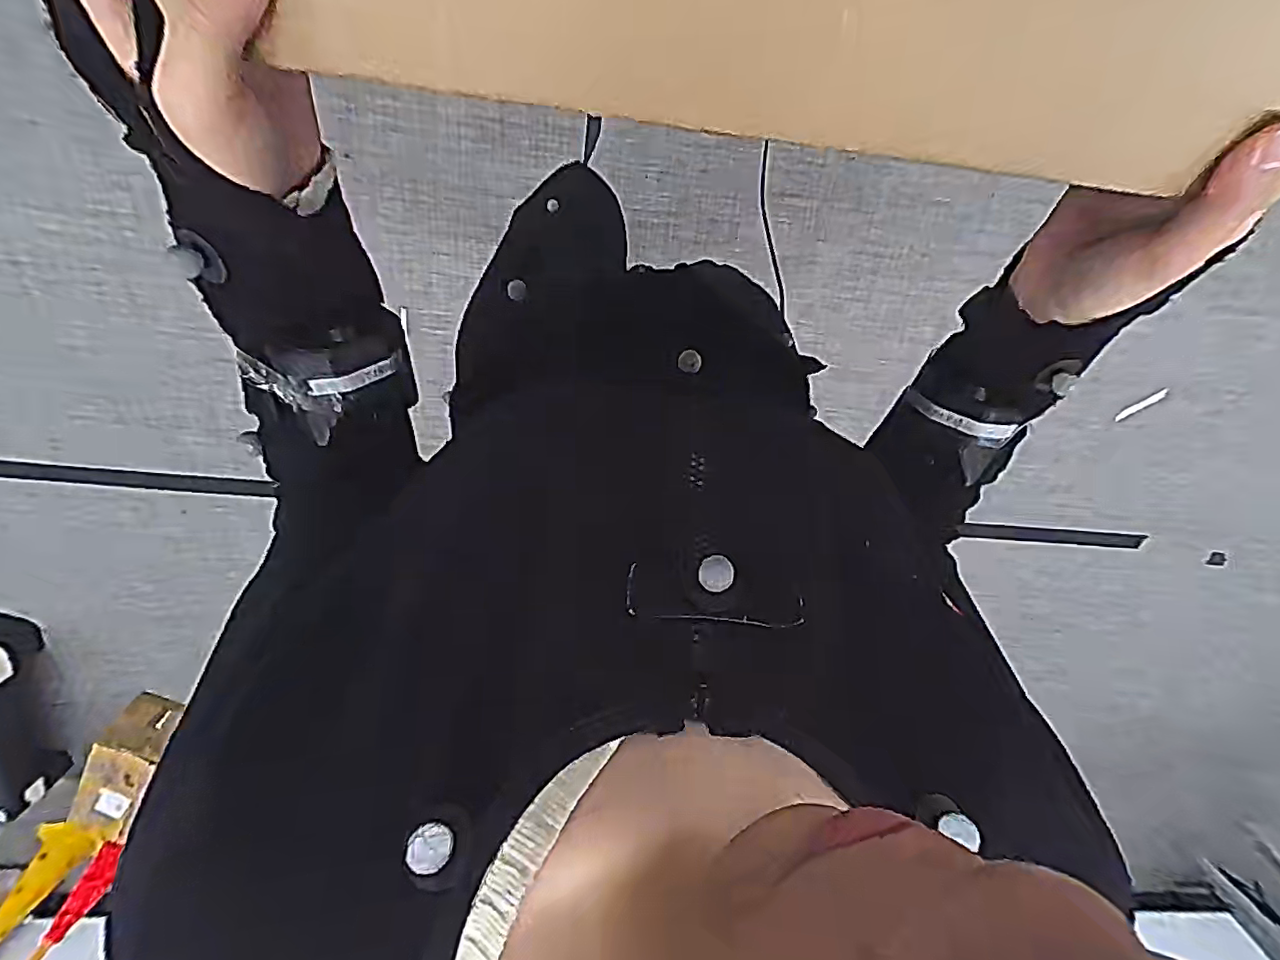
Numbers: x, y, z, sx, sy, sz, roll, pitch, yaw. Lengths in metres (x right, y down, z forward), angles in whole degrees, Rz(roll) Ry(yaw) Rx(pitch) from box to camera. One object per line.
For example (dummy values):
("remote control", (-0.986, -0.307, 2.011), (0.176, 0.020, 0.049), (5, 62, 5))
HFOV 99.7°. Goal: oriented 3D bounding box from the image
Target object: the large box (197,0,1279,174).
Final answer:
("large box", (0.068, -0.342, 0.168), (0.408, 0.320, 0.320), (3, 144, -7))
